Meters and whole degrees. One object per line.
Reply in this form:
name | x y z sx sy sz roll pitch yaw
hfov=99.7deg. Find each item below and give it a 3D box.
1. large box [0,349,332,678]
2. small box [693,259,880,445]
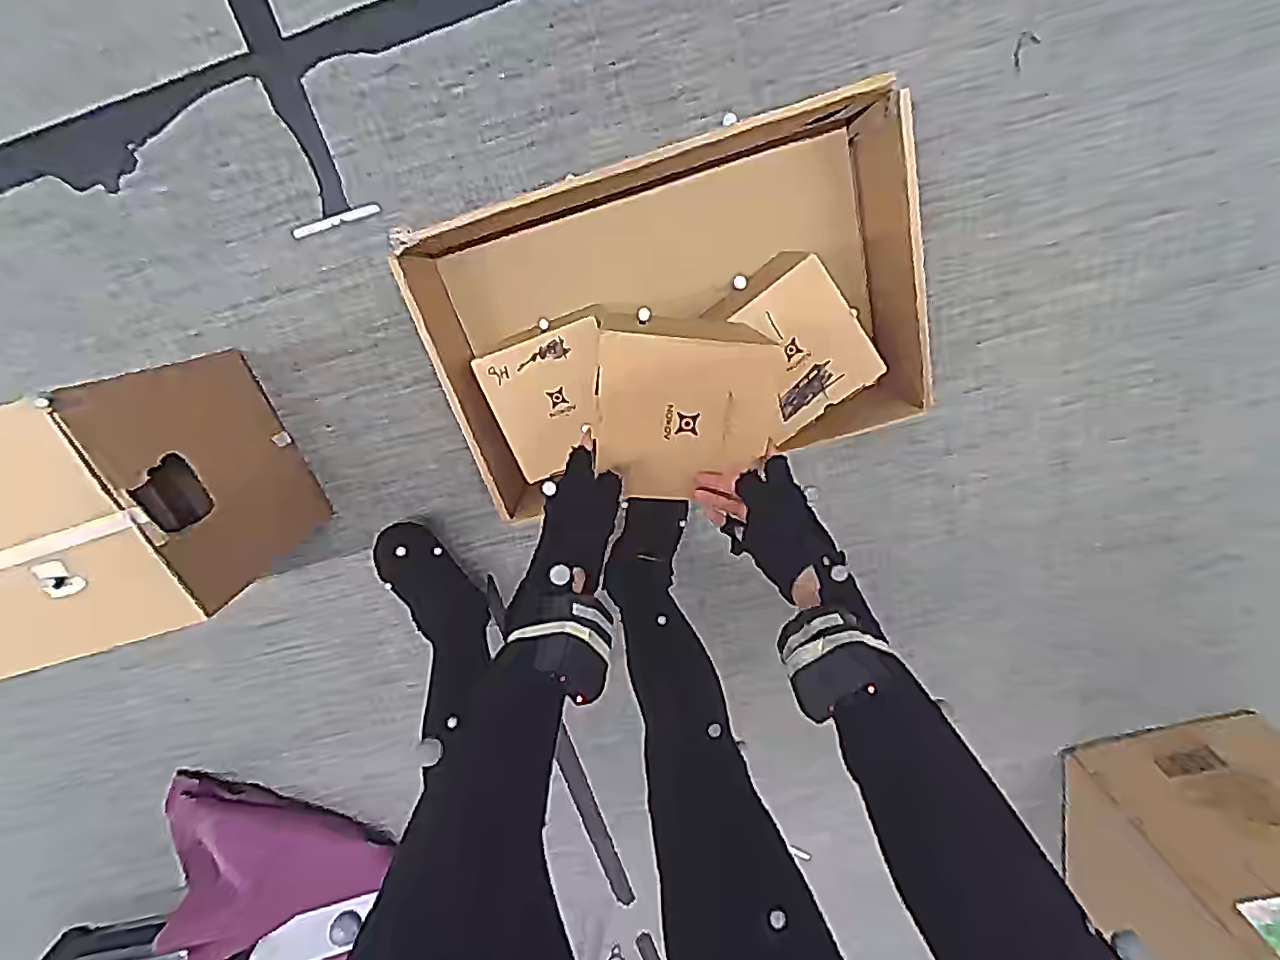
large box | -0.778 0.033 0.799 0.408 0.320 0.320 -17 112 6
small box | 0.189 -0.183 0.745 0.168 0.176 0.179 -36 107 14
